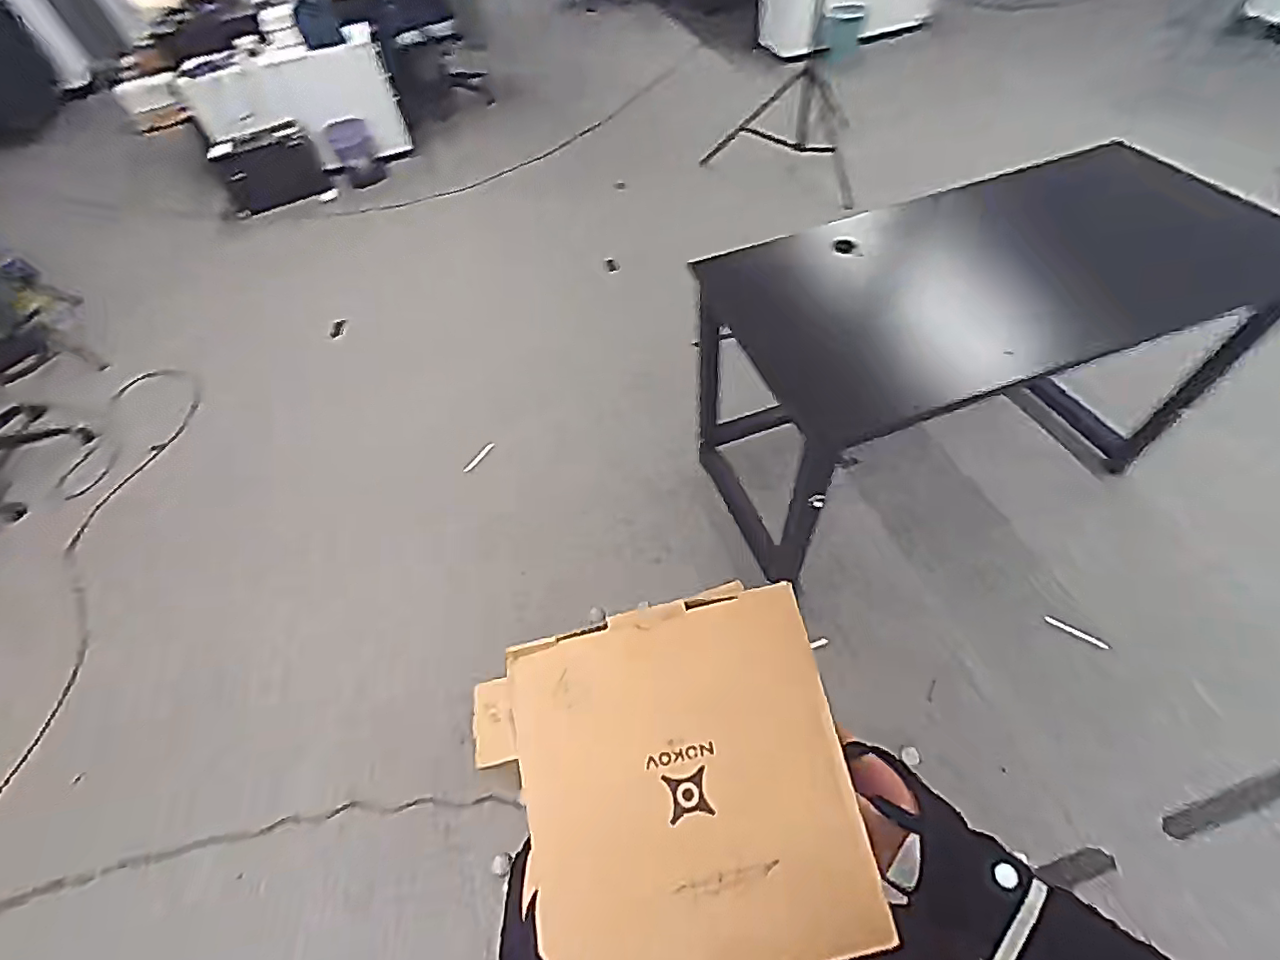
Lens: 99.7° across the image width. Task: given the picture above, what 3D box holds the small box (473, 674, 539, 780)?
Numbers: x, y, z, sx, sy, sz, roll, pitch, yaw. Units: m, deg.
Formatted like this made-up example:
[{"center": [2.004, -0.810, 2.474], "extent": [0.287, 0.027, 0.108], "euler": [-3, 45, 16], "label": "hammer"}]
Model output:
[{"center": [-0.249, 0.533, 1.174], "extent": [0.179, 0.176, 0.168], "euler": [-14, 53, -3], "label": "small box"}]

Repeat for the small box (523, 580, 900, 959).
[{"center": [0.033, 0.175, 0.357], "extent": [0.168, 0.176, 0.179], "euler": [-12, 75, 0], "label": "small box"}]
